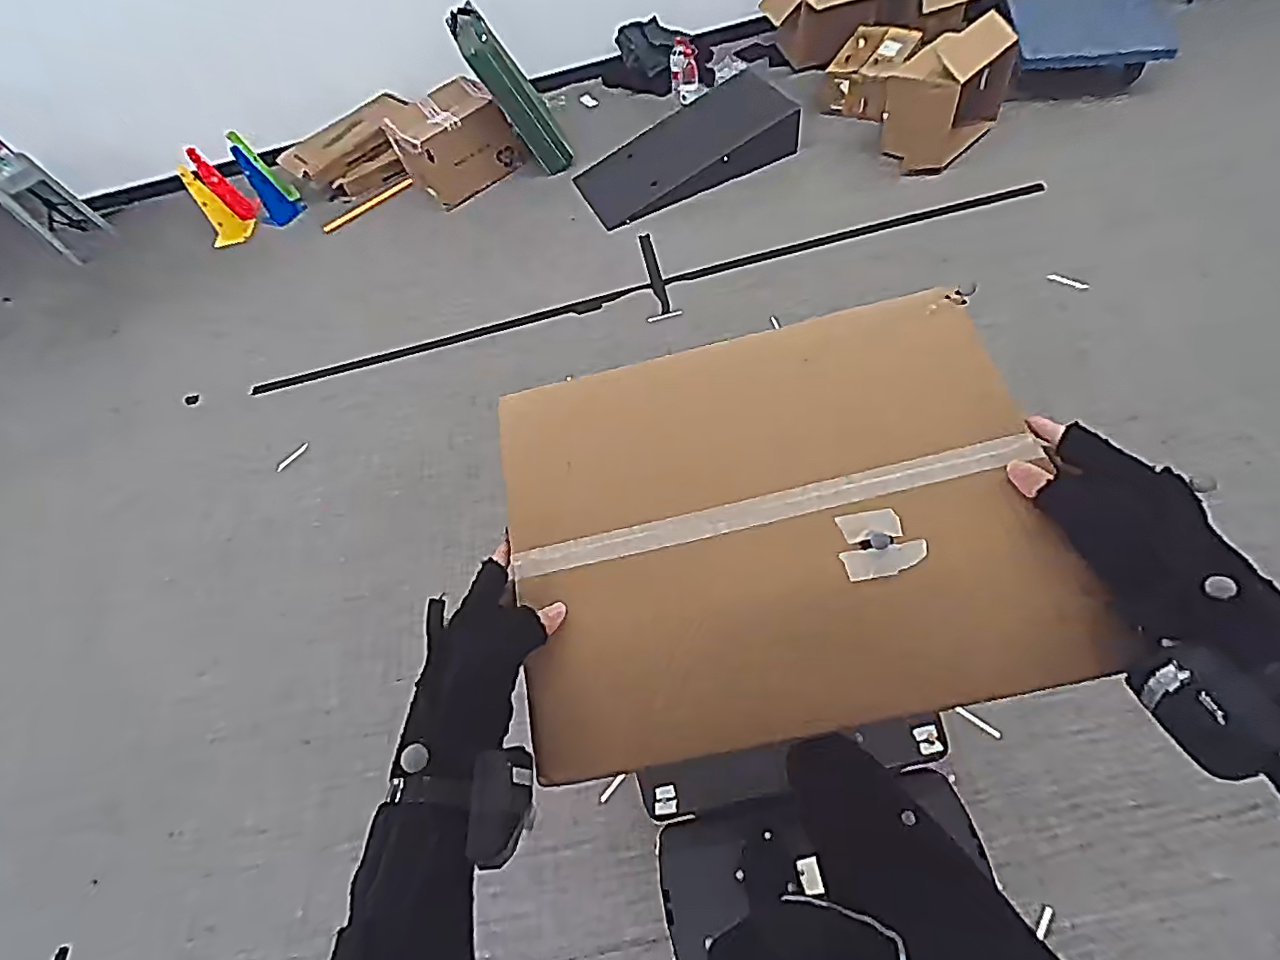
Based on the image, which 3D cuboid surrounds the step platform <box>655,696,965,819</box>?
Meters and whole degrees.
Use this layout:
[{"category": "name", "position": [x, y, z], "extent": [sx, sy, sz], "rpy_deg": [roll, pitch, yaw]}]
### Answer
[{"category": "step platform", "position": [0.360, 0.561, 1.263], "extent": [0.684, 0.204, 0.286], "rpy_deg": [-14, 58, 1]}]

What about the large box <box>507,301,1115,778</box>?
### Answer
[{"category": "large box", "position": [0.119, 0.081, 0.565], "extent": [0.408, 0.320, 0.320], "rpy_deg": [-14, 68, 3]}]
